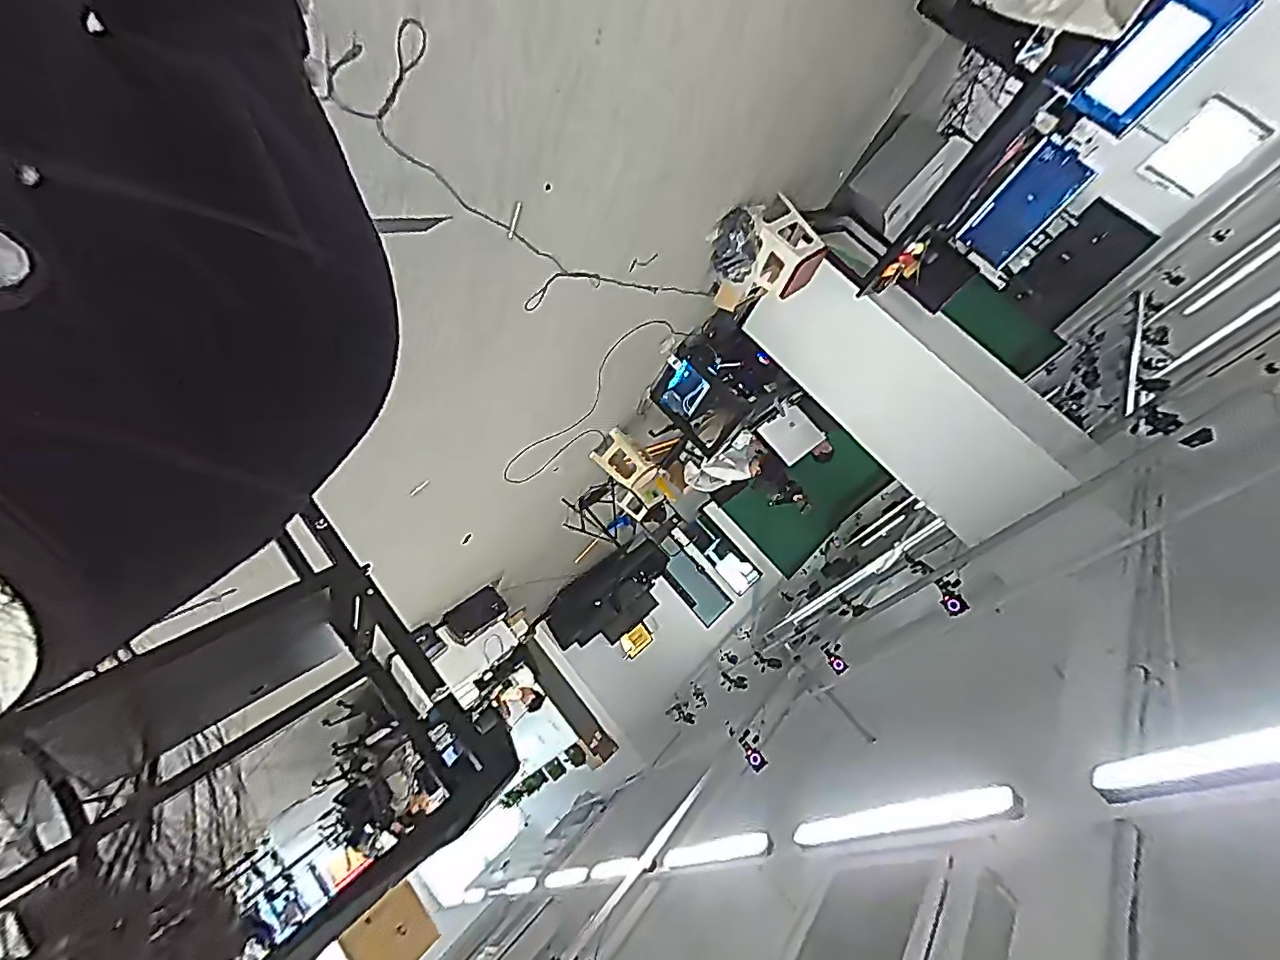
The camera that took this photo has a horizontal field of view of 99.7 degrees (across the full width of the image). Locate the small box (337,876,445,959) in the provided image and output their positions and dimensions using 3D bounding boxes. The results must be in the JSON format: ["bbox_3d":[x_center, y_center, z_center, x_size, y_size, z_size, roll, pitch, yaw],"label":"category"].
[{"bbox_3d":[-0.604,1.097,1.301,0.168,0.176,0.179,-29,163,-45],"label":"small box"}]
